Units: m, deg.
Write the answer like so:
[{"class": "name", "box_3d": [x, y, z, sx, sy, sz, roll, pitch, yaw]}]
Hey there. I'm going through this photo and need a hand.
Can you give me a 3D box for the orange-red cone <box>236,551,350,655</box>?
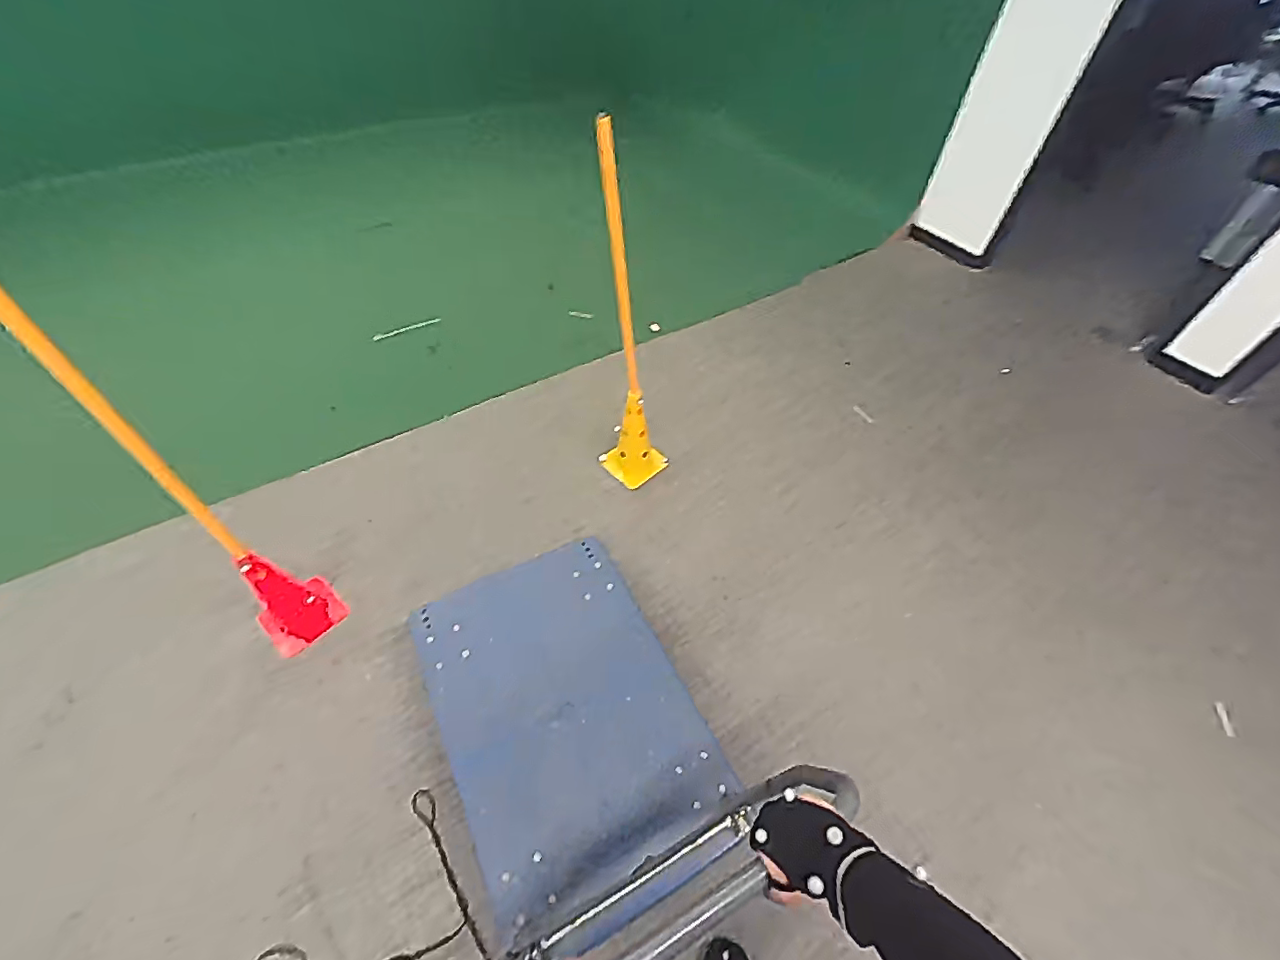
[{"class": "orange-red cone", "box_3d": [-1.011, 0.308, 1.511, 0.198, 0.360, 0.199, 36, 60, 25]}]
